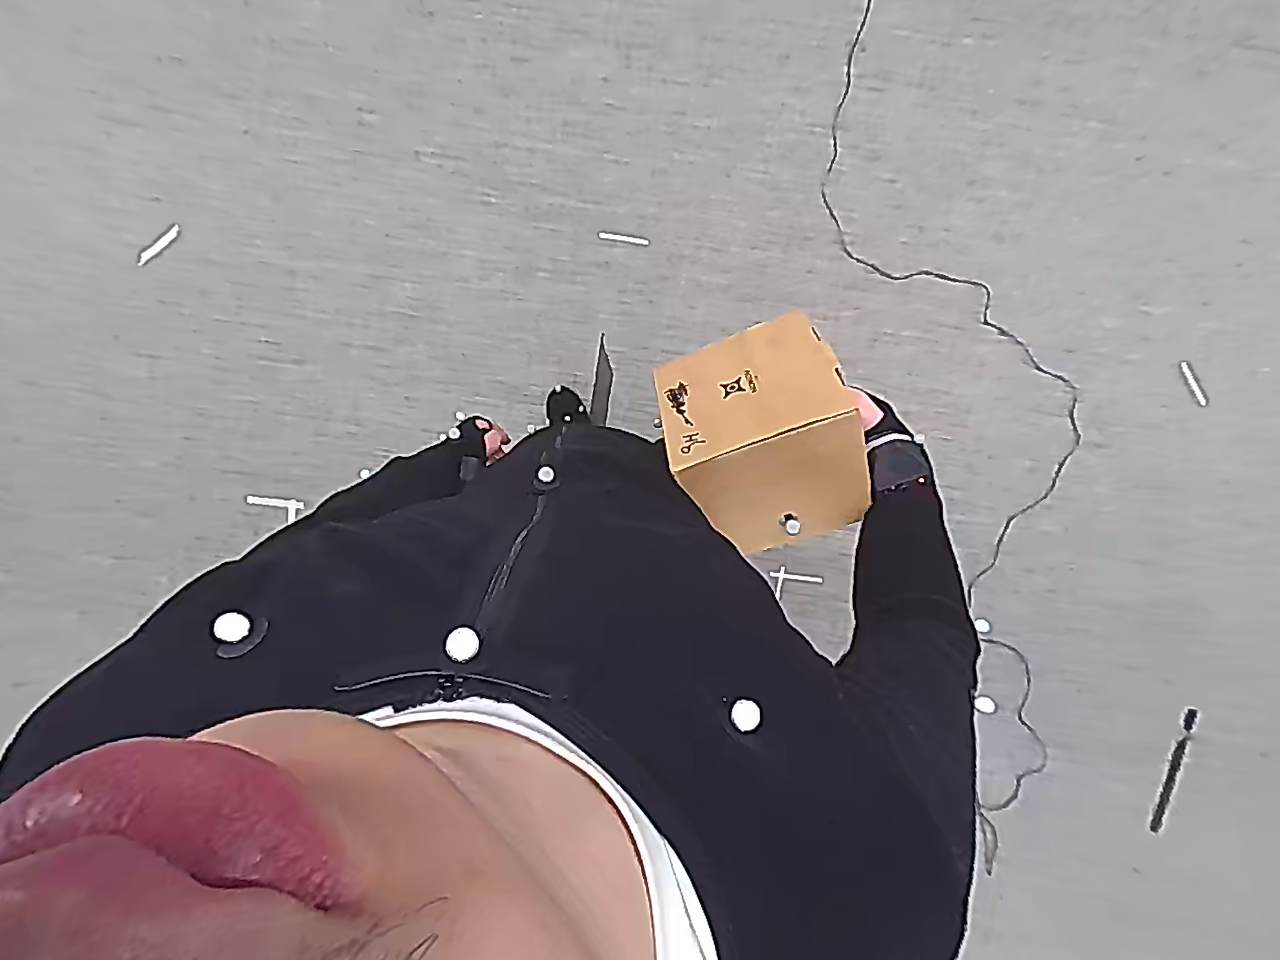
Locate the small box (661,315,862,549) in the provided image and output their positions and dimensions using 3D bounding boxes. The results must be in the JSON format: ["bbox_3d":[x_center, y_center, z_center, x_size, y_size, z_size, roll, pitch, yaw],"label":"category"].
[{"bbox_3d":[0.138,-0.047,0.612,0.179,0.168,0.176,-19,135,12],"label":"small box"}]
